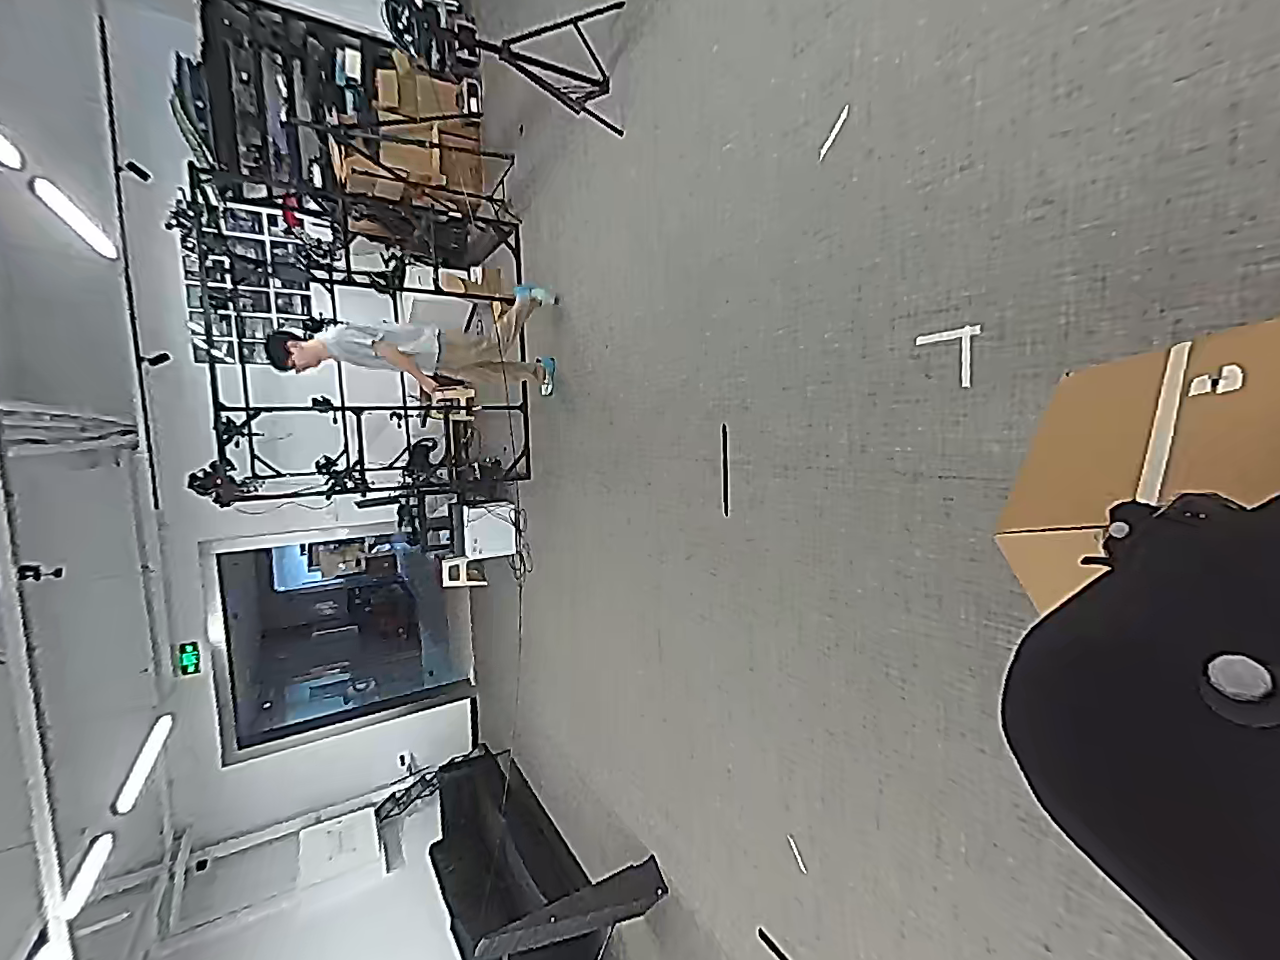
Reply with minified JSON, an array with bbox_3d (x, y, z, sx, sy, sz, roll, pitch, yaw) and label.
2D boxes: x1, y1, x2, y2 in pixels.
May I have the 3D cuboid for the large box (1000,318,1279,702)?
[{"bbox_3d":[0.777,0.038,0.738,0.320,0.408,0.320,53,151,-13],"label":"large box"}]
